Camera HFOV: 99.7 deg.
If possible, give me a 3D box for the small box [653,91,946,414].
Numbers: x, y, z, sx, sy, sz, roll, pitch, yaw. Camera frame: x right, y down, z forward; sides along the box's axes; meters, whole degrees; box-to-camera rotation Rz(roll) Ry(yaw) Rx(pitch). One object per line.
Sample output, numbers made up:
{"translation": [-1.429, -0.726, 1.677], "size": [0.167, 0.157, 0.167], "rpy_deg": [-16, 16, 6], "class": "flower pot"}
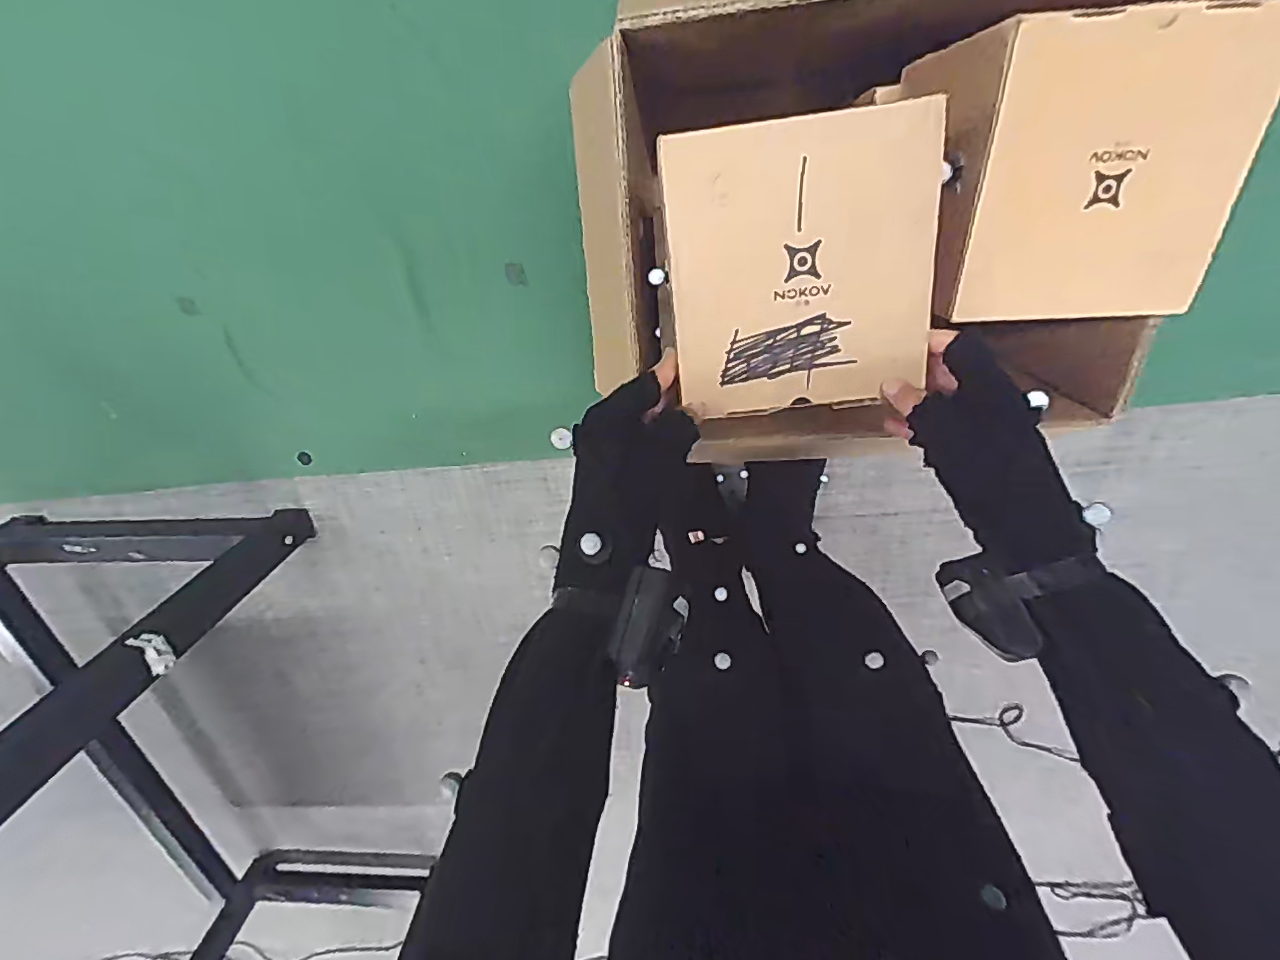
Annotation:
{"translation": [0.101, -0.161, 0.411], "size": [0.168, 0.176, 0.179], "rpy_deg": [-5, 111, 4], "class": "small box"}
